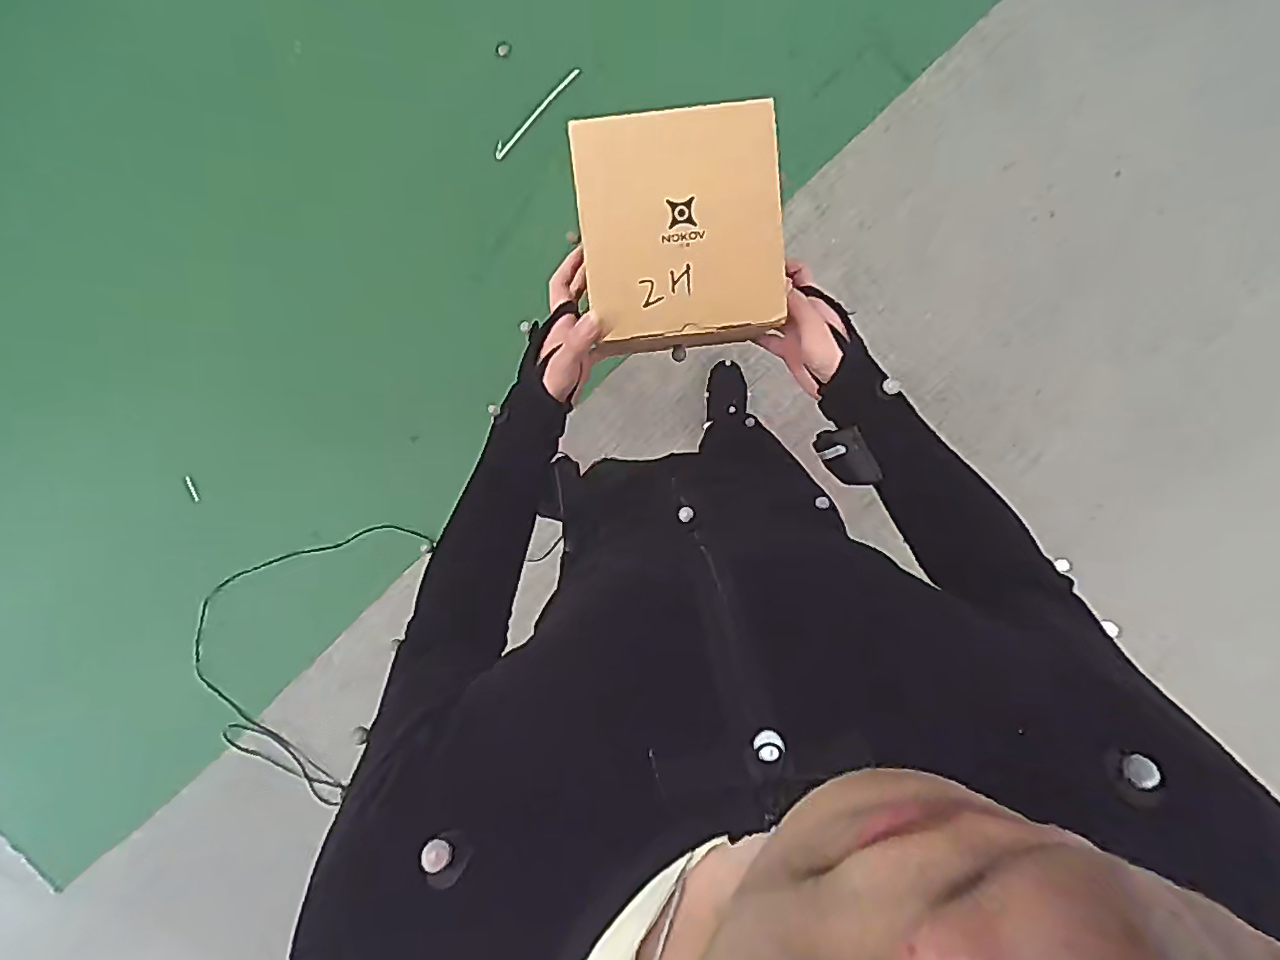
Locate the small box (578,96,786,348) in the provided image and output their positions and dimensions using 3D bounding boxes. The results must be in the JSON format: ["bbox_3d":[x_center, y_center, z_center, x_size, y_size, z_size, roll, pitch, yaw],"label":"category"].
[{"bbox_3d":[0.035,-0.230,0.526,0.168,0.176,0.179,-6,100,1],"label":"small box"}]
